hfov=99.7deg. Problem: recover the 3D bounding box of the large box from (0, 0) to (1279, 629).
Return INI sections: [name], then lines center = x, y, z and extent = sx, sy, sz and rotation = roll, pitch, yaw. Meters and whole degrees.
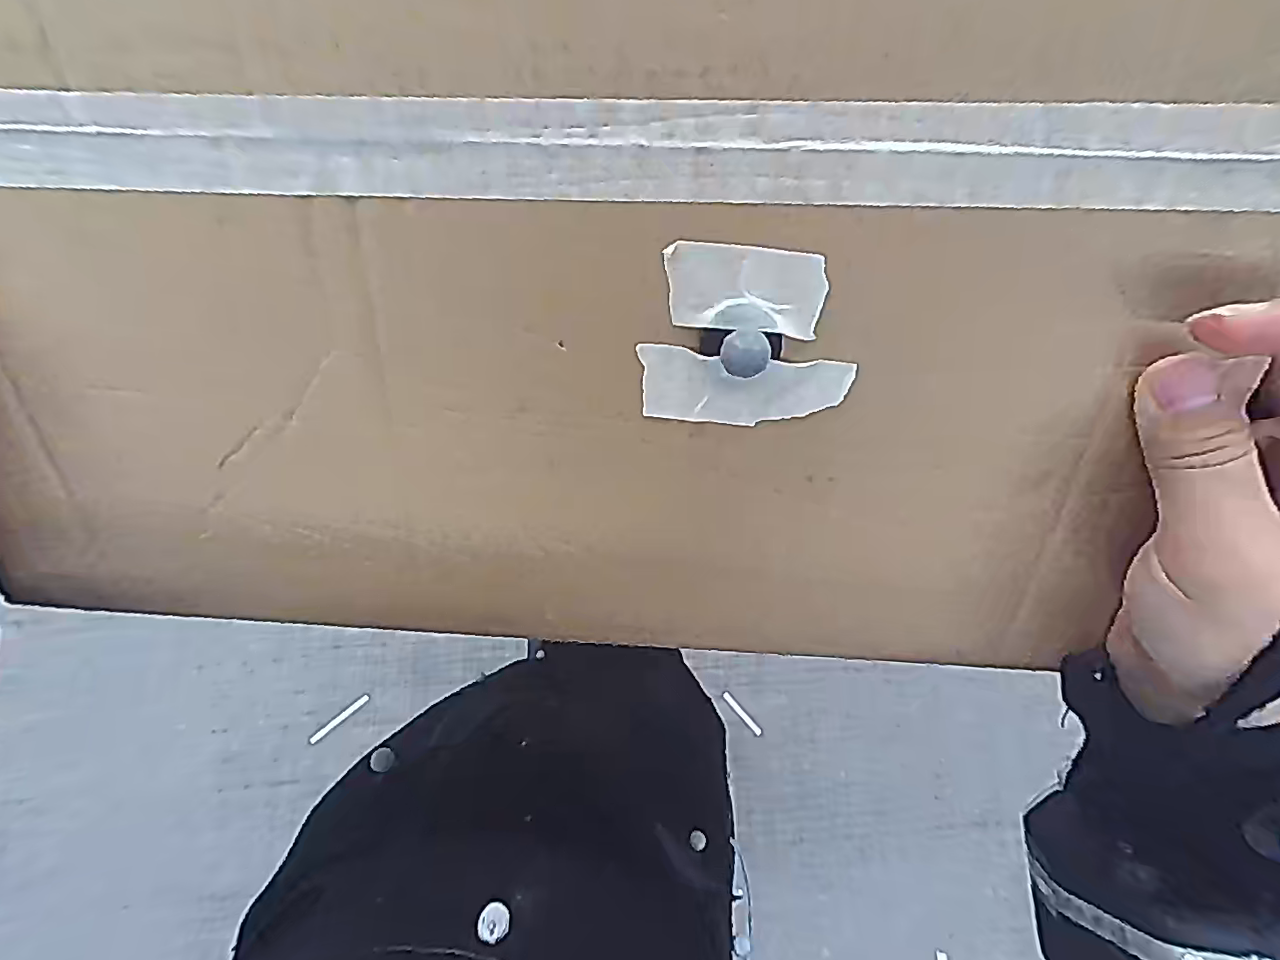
[large box]
center = -0.026, -0.148, 0.283
extent = 0.408, 0.320, 0.320
rotation = 2, 115, 2
